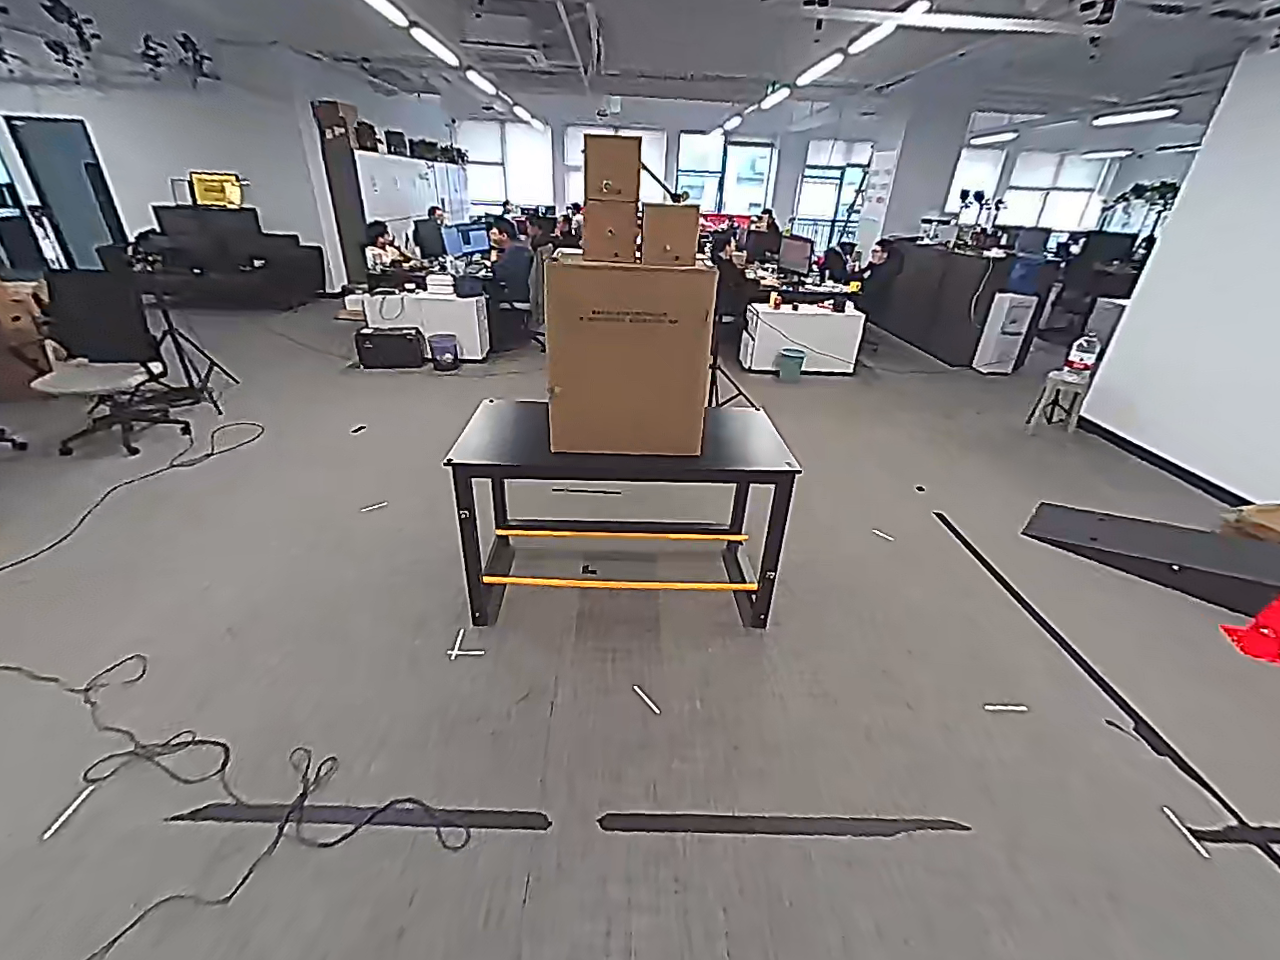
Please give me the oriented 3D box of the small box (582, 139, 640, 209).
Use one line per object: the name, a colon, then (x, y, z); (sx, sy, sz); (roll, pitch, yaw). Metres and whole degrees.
small box: (-0.085, -0.915, 1.622); (0.168, 0.176, 0.179); (1, 30, -2)
